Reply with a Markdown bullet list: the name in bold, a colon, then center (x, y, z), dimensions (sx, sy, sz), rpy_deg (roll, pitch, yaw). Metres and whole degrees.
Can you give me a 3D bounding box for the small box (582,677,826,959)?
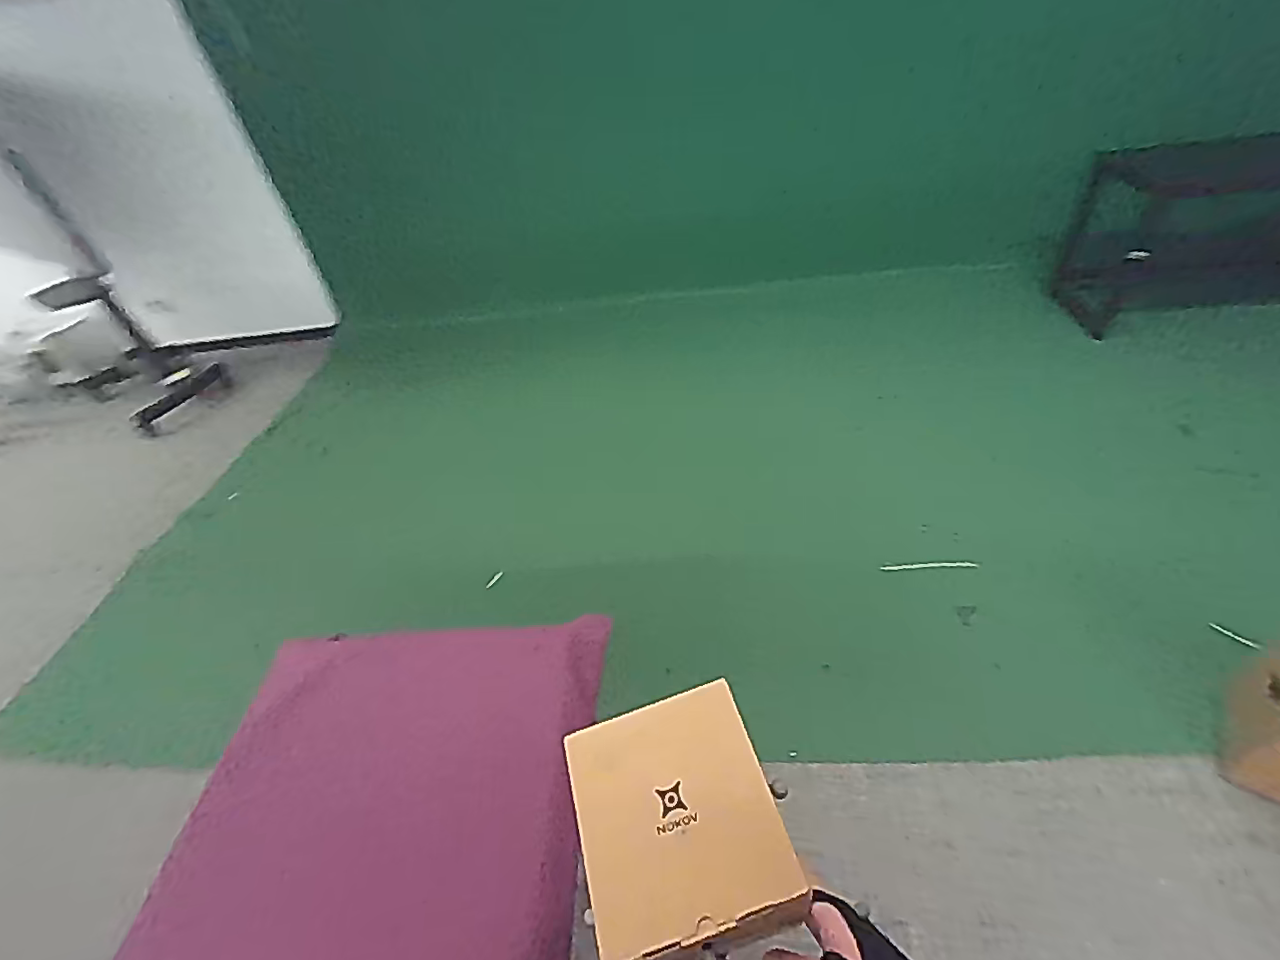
- **small box**: center (0.055, 0.324, 0.515), dimensions (0.168, 0.176, 0.179), rpy_deg (-18, 48, -2)
